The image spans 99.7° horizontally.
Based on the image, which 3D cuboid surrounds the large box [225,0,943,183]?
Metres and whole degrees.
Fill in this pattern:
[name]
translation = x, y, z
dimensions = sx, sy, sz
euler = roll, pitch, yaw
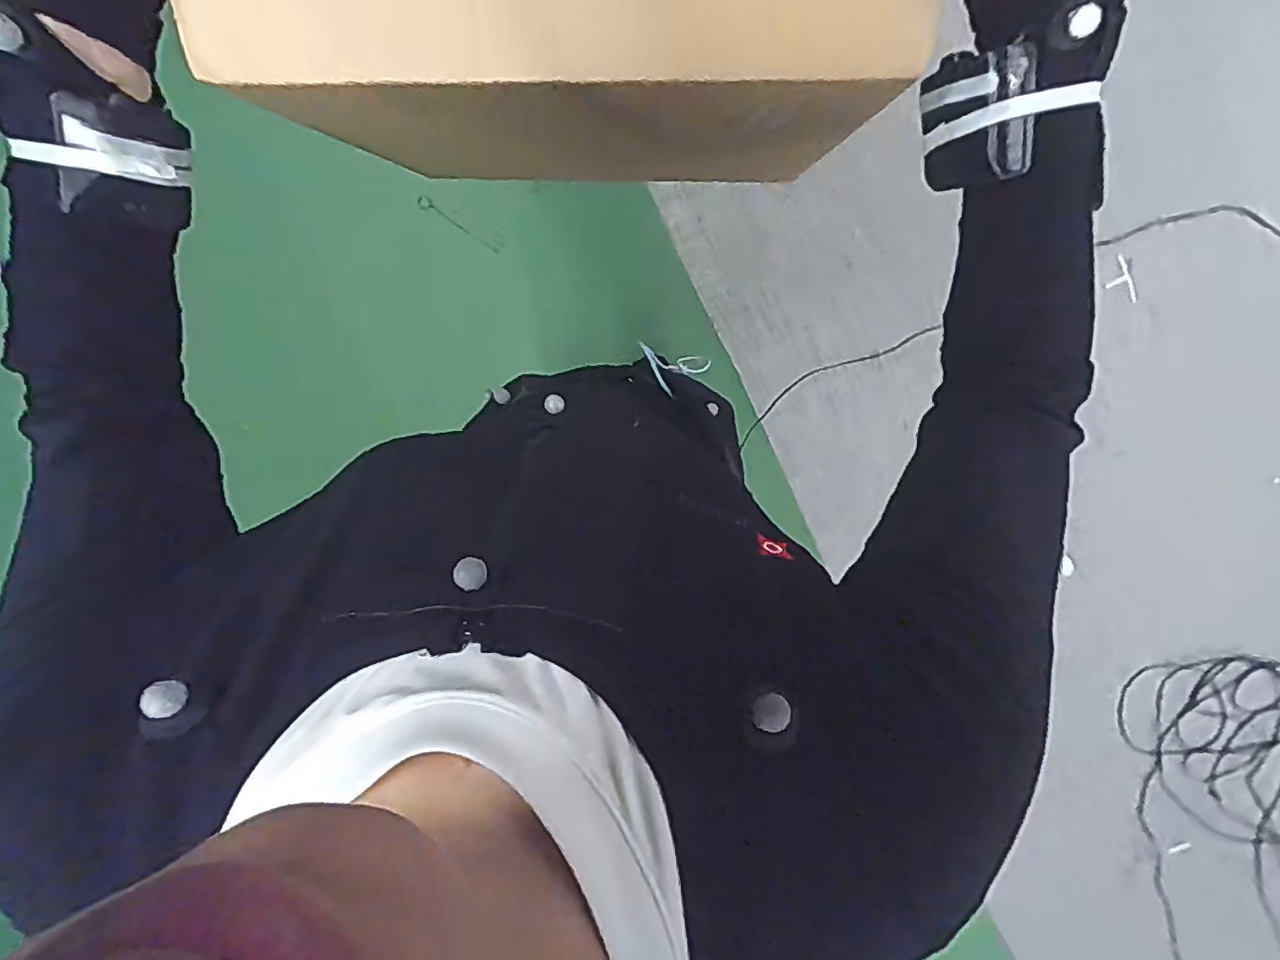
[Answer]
[large box]
translation = -0.029, -0.422, 0.399
dimensions = 0.408, 0.320, 0.320
euler = 2, 111, 2
